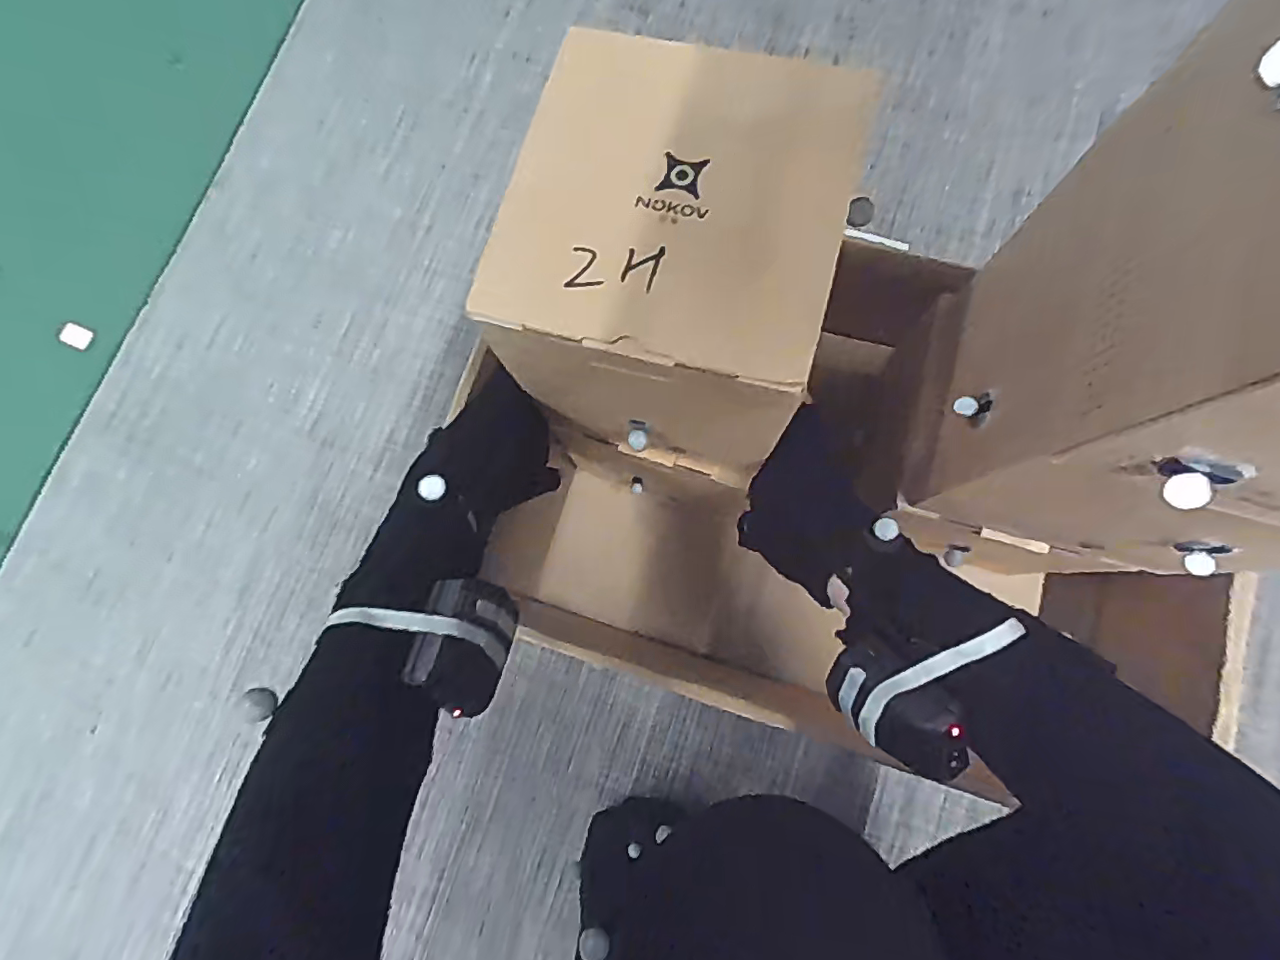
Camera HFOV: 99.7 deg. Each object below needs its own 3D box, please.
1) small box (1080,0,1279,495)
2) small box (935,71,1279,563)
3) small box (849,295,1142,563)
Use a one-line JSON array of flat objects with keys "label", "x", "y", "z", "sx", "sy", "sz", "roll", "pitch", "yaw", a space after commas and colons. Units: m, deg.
[{"label": "small box", "x": 0.266, "y": -0.081, "z": 0.144, "sx": 0.168, "sy": 0.176, "sz": 0.179, "roll": 17, "pitch": 82, "yaw": 8}, {"label": "small box", "x": 0.286, "y": -0.060, "z": 0.289, "sx": 0.168, "sy": 0.176, "sz": 0.179, "roll": 16, "pitch": 82, "yaw": 9}, {"label": "small box", "x": 0.292, "y": -0.029, "z": 0.467, "sx": 0.168, "sy": 0.176, "sz": 0.179, "roll": 12, "pitch": 81, "yaw": 9}]
